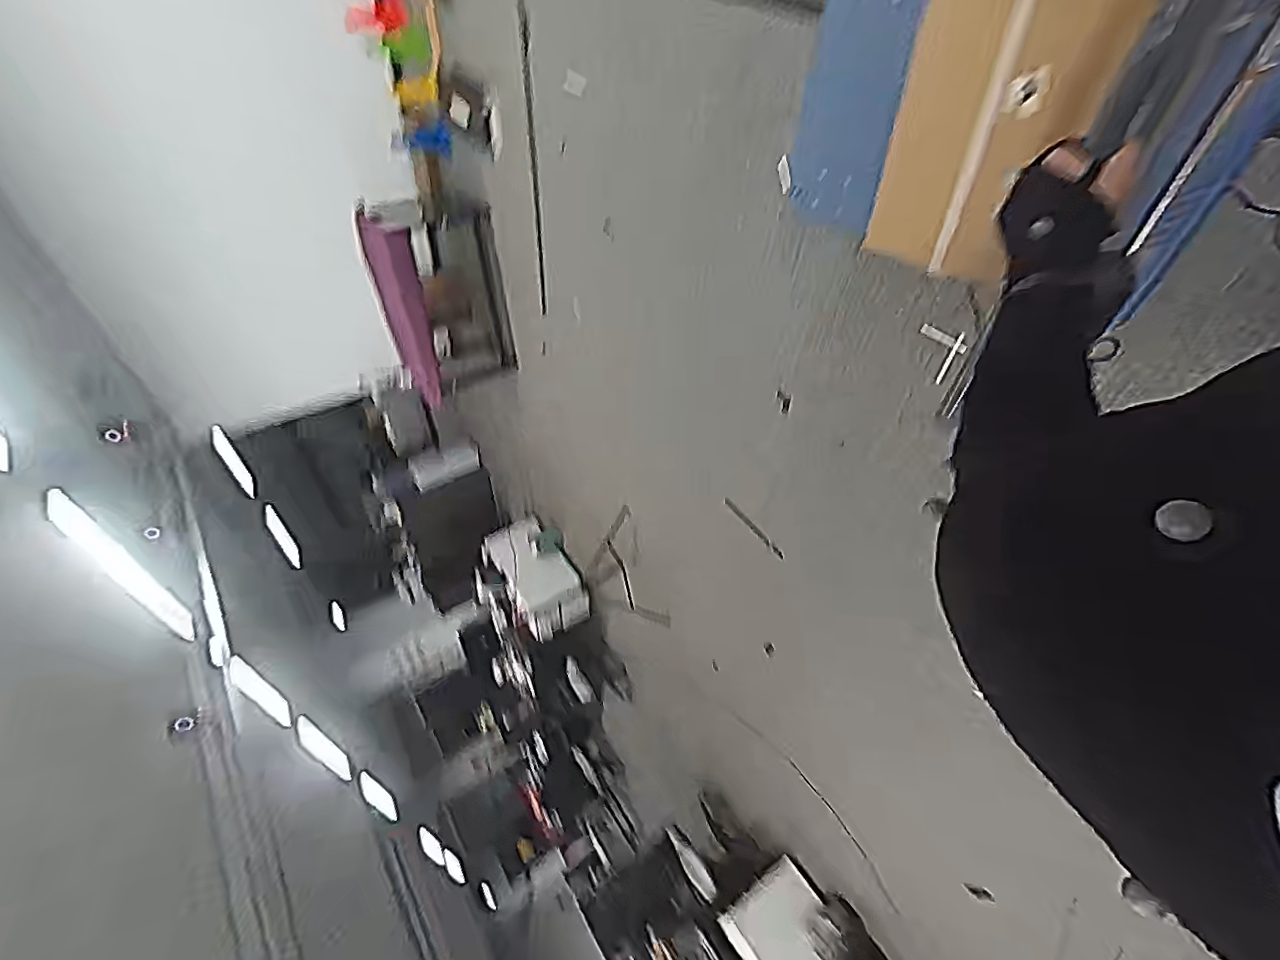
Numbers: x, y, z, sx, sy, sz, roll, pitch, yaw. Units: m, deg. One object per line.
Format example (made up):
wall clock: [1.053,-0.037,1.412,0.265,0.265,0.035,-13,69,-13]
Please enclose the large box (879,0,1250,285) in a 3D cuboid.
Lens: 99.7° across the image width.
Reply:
large box: [0.677,-0.597,0.912,0.320,0.320,0.408,41,145,37]
